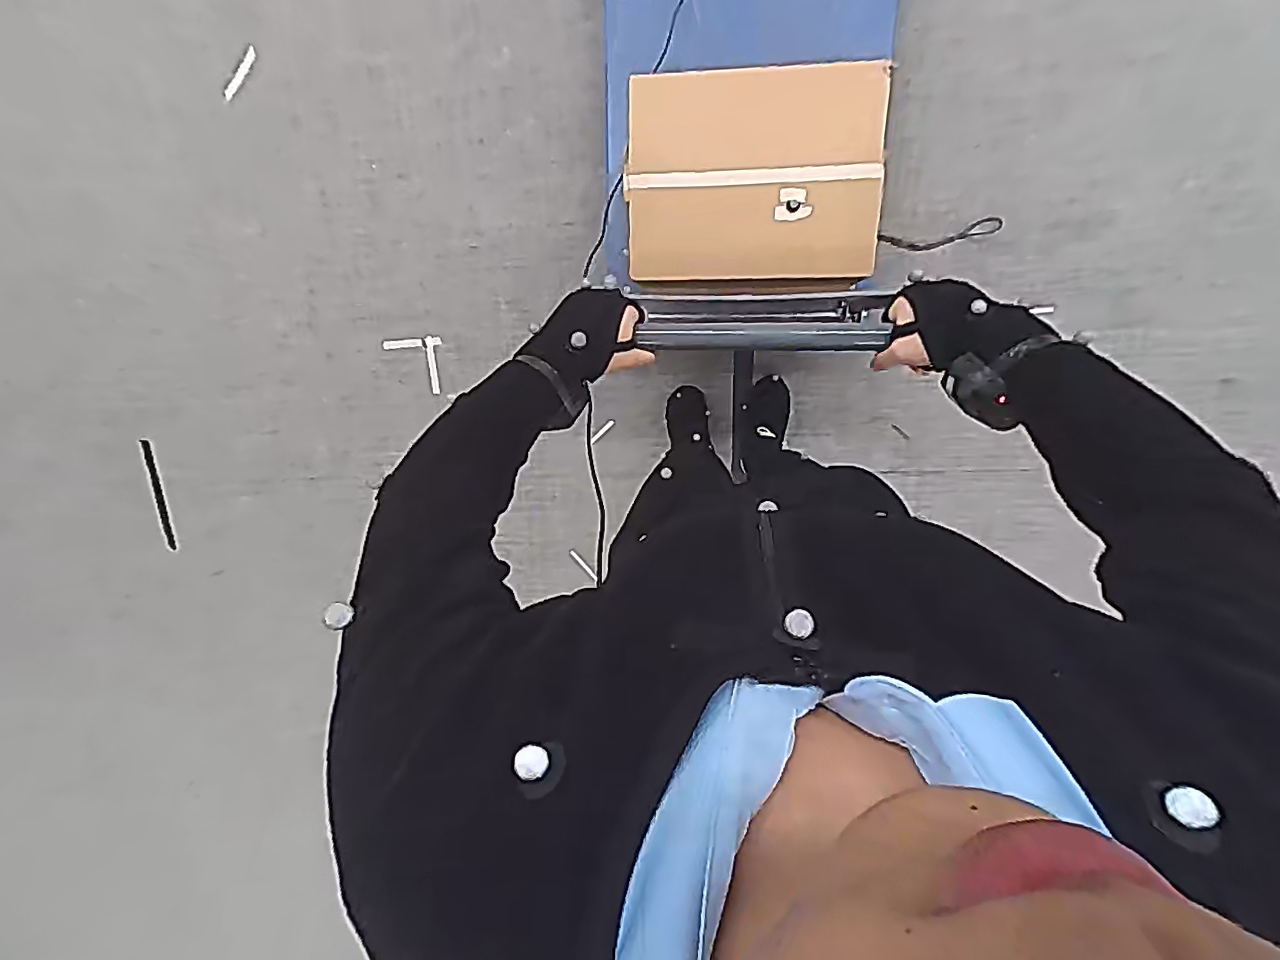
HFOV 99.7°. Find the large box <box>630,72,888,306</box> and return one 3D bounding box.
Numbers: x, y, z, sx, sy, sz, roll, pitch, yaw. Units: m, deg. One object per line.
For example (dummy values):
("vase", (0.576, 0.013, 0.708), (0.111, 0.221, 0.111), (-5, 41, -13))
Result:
("large box", (0.198, -0.508, 1.021), (0.408, 0.320, 0.320), (2, 104, 6))
